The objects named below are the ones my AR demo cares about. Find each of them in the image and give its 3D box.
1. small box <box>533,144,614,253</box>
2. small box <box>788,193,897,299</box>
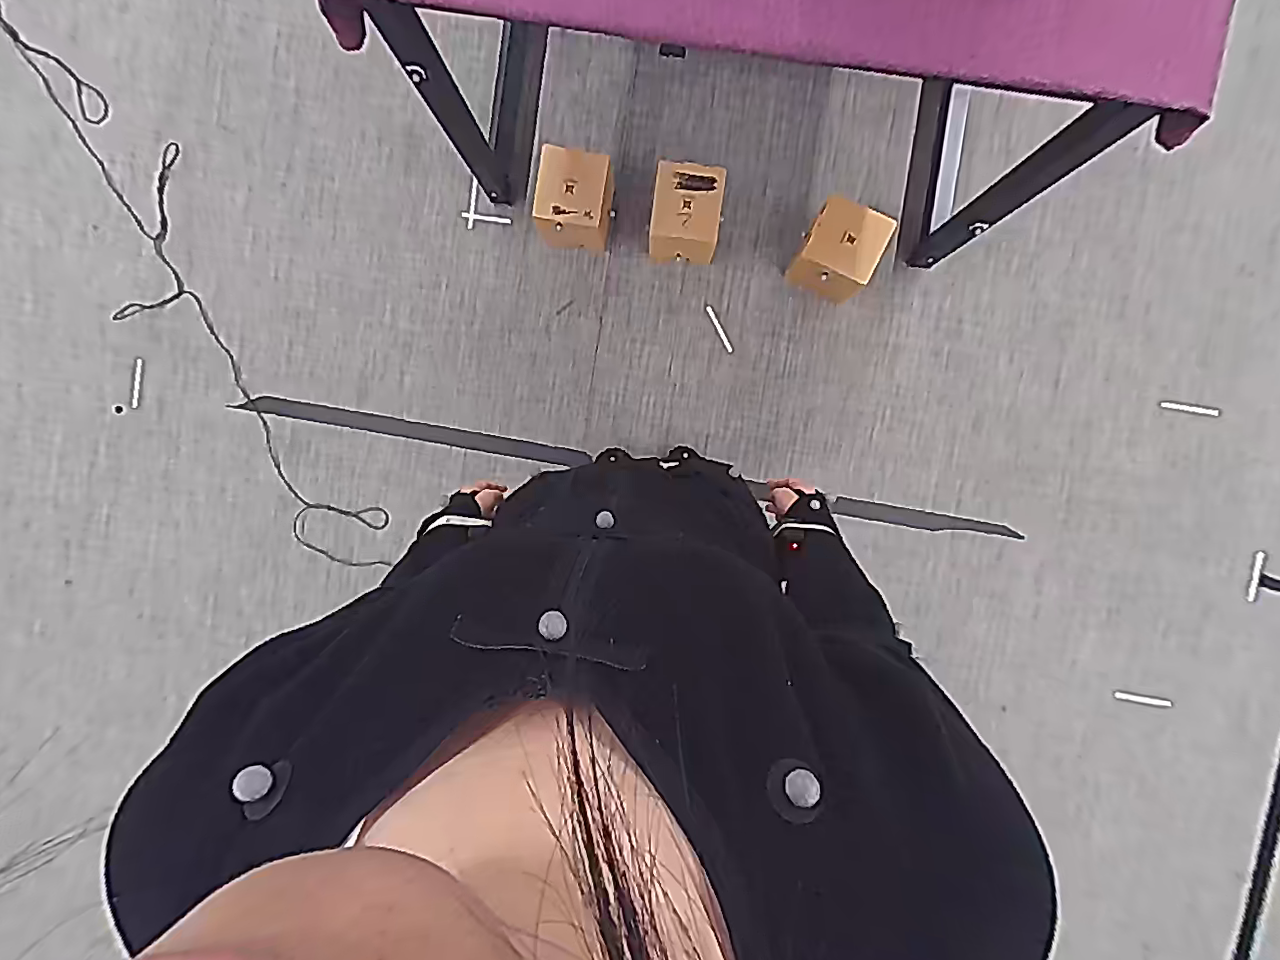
[{"bbox_3d":[-0.161,-0.707,1.372,0.168,0.176,0.179,11,92,1],"label":"small box"},{"bbox_3d":[0.501,-0.577,1.363,0.179,0.176,0.168,26,94,1],"label":"small box"}]
